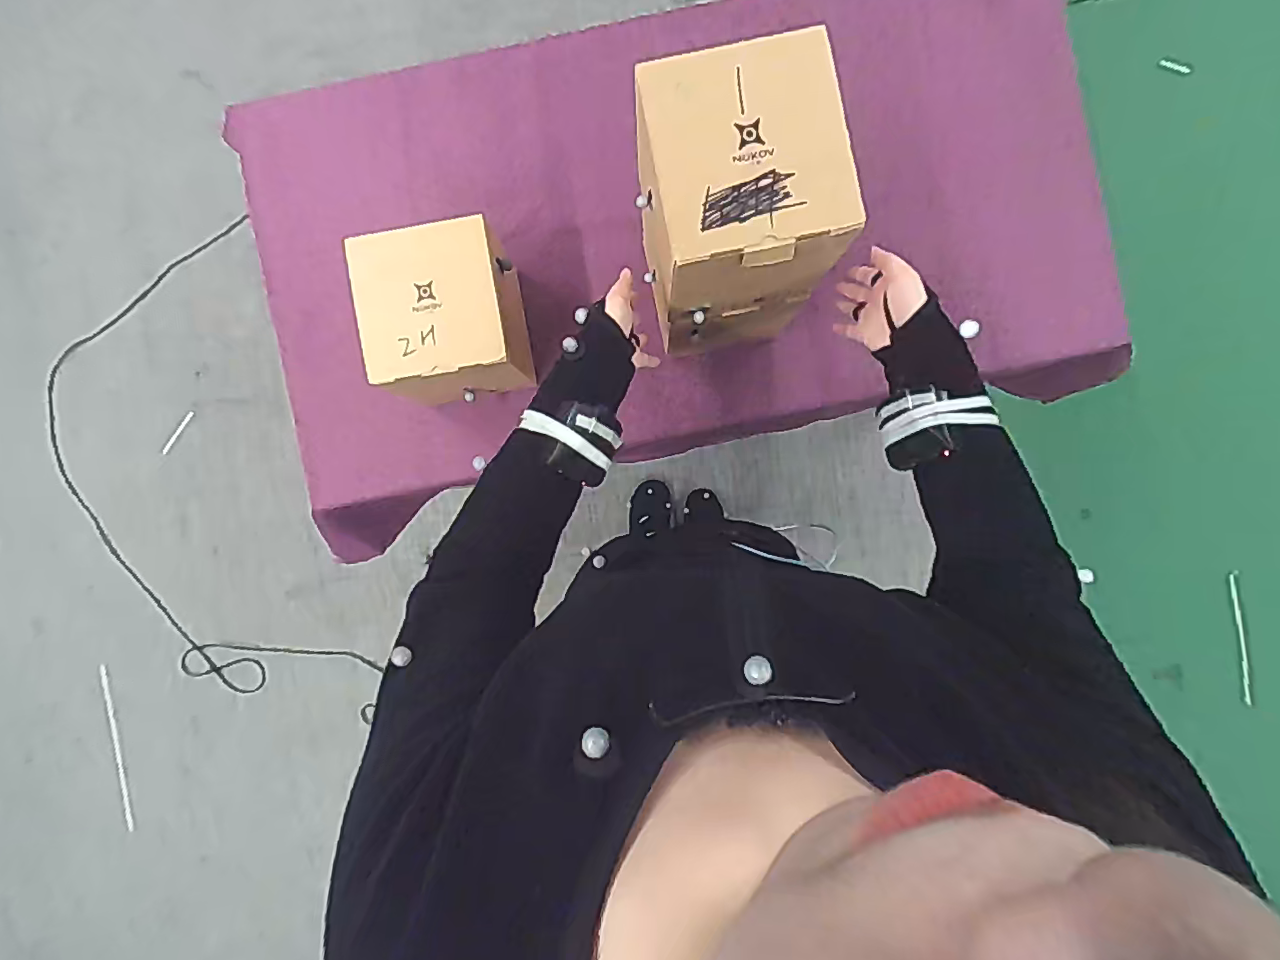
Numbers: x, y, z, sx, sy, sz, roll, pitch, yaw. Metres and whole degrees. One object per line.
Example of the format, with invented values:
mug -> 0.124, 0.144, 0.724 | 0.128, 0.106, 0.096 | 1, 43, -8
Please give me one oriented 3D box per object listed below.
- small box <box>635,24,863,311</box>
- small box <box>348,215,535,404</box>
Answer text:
small box -> 0.093, -0.281, 0.532 | 0.168, 0.176, 0.179 | -11, 87, 1
small box -> -0.244, -0.207, 0.702 | 0.168, 0.176, 0.179 | -10, 90, 1
